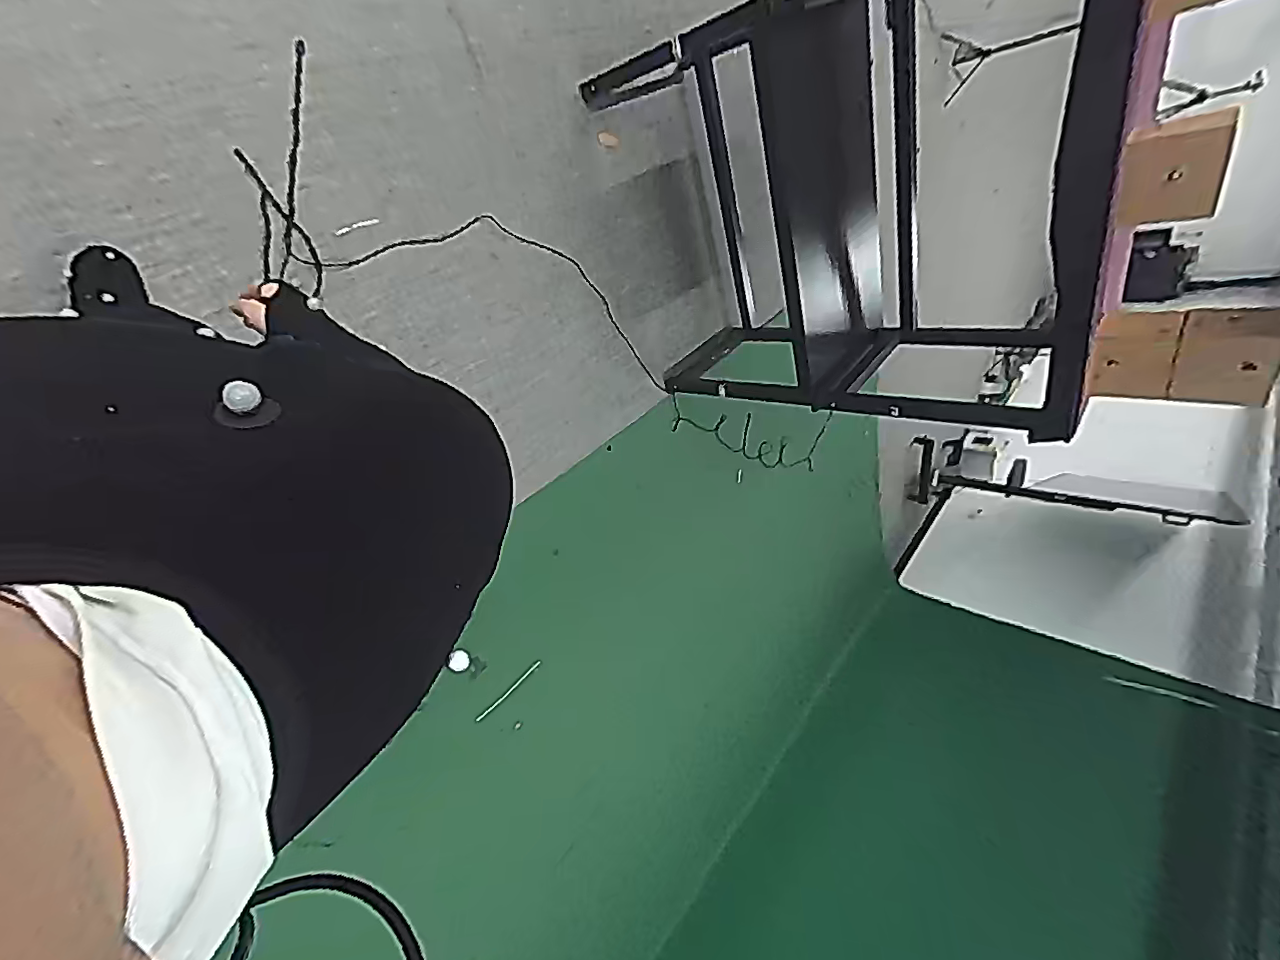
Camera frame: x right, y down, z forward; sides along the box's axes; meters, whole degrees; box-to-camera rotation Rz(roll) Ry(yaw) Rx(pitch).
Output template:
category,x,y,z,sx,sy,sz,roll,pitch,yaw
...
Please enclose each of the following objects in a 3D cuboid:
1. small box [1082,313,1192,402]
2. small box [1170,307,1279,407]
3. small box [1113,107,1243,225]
category,x,y,z,sx,sy,sz,roll,pitch,yaw
small box,1.267,-0.319,1.385,0.179,0.176,0.168,-40,126,-31
small box,1.376,-0.289,1.264,0.168,0.176,0.179,-40,126,-30
small box,1.139,-0.661,1.155,0.168,0.176,0.179,-41,126,-33
